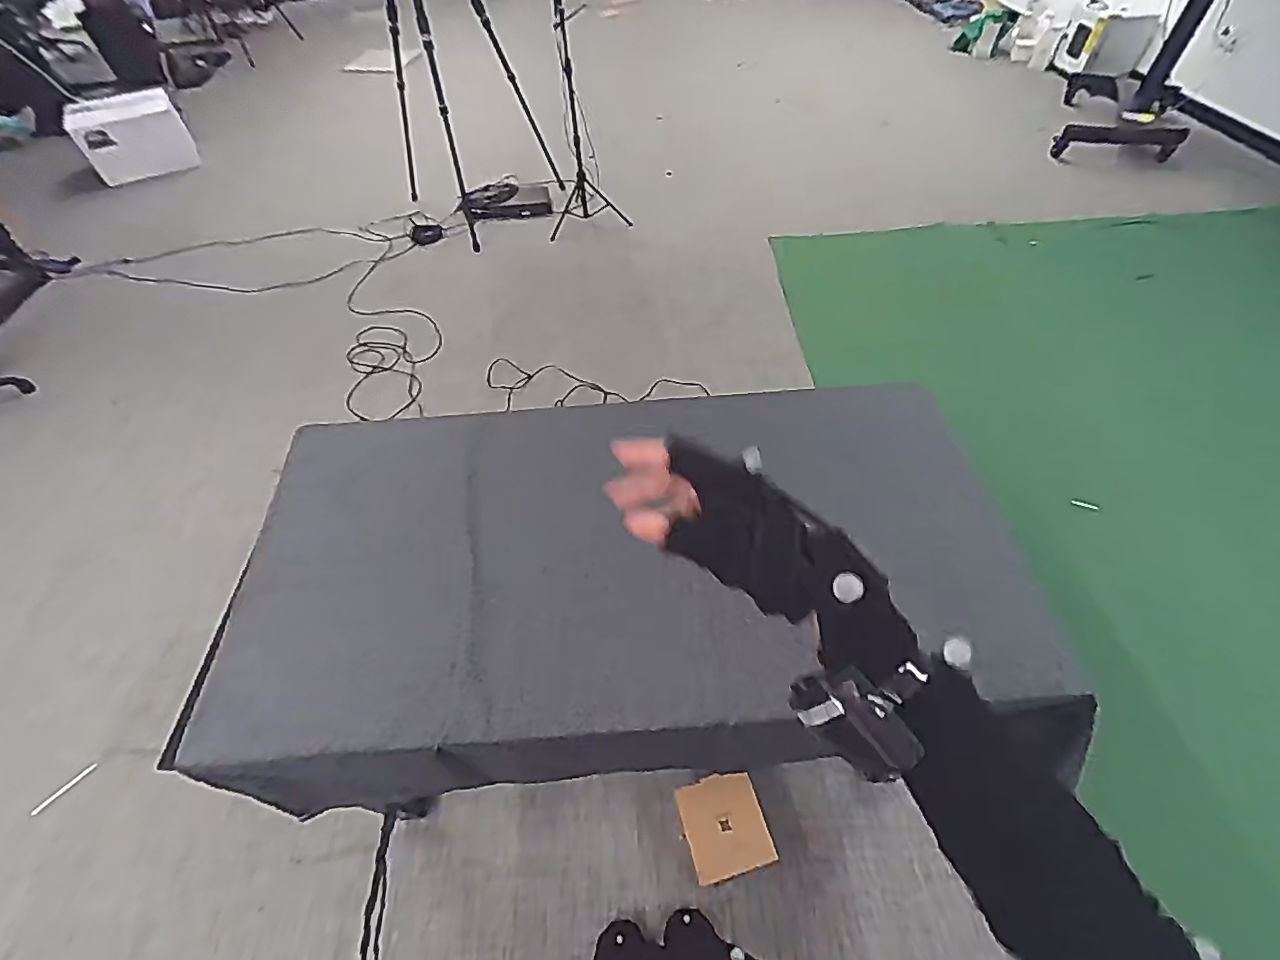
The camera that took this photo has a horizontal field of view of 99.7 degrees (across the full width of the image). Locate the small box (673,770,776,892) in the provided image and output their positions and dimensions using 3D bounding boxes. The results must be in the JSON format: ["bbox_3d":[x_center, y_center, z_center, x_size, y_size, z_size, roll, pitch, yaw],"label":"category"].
[{"bbox_3d":[0.171,0.757,1.163,0.168,0.176,0.179,-14,52,-8],"label":"small box"}]

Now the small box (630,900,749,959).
[{"bbox_3d":[0.092,0.965,1.012,0.168,0.176,0.179,8,22,45],"label":"small box"}]
